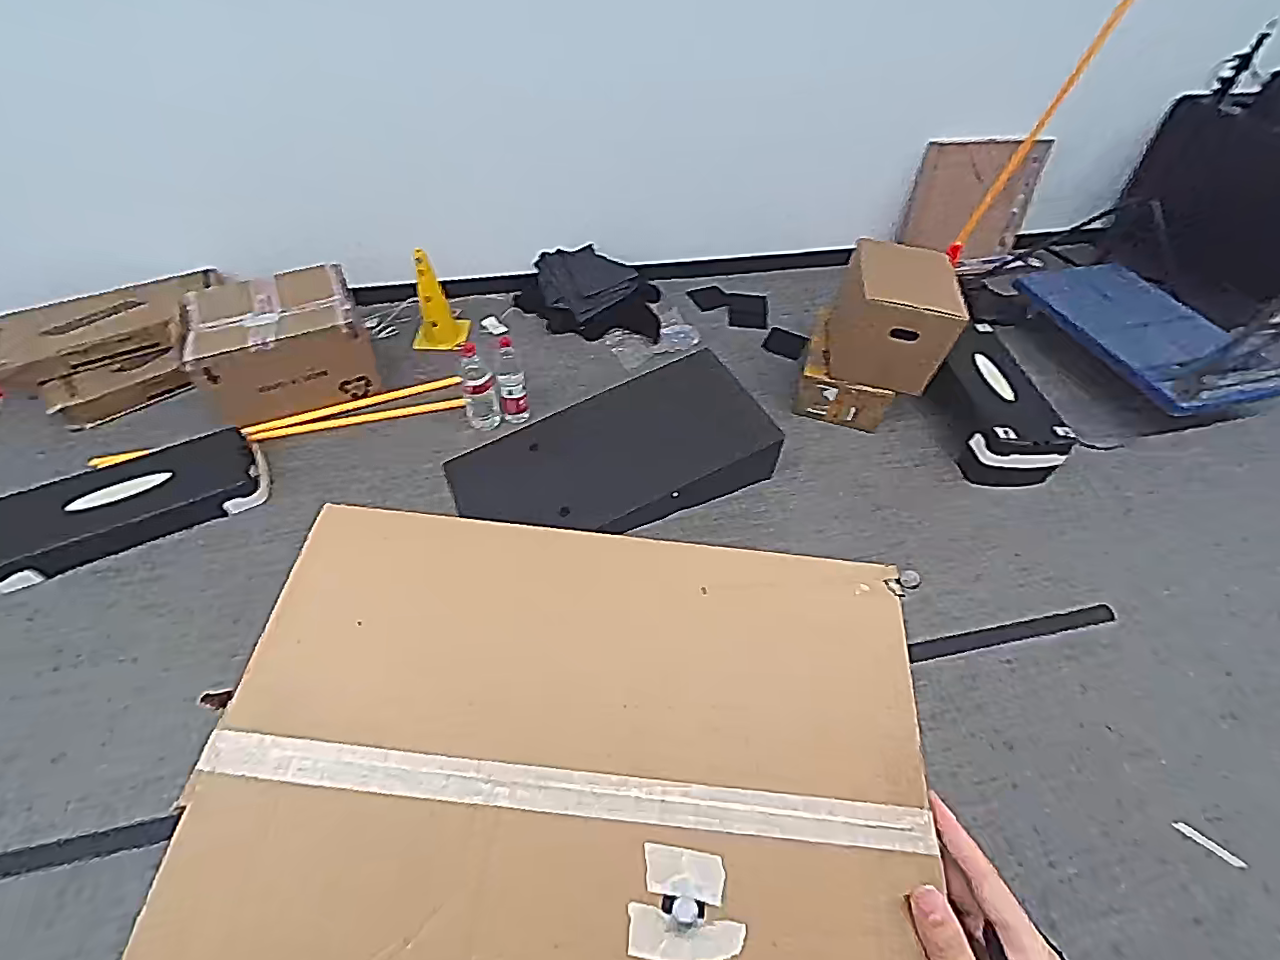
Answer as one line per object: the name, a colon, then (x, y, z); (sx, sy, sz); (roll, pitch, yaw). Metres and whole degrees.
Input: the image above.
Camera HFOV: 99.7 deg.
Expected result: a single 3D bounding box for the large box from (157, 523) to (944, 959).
large box: (-0.041, 0.256, 0.439); (0.408, 0.320, 0.320); (7, 61, 0)
